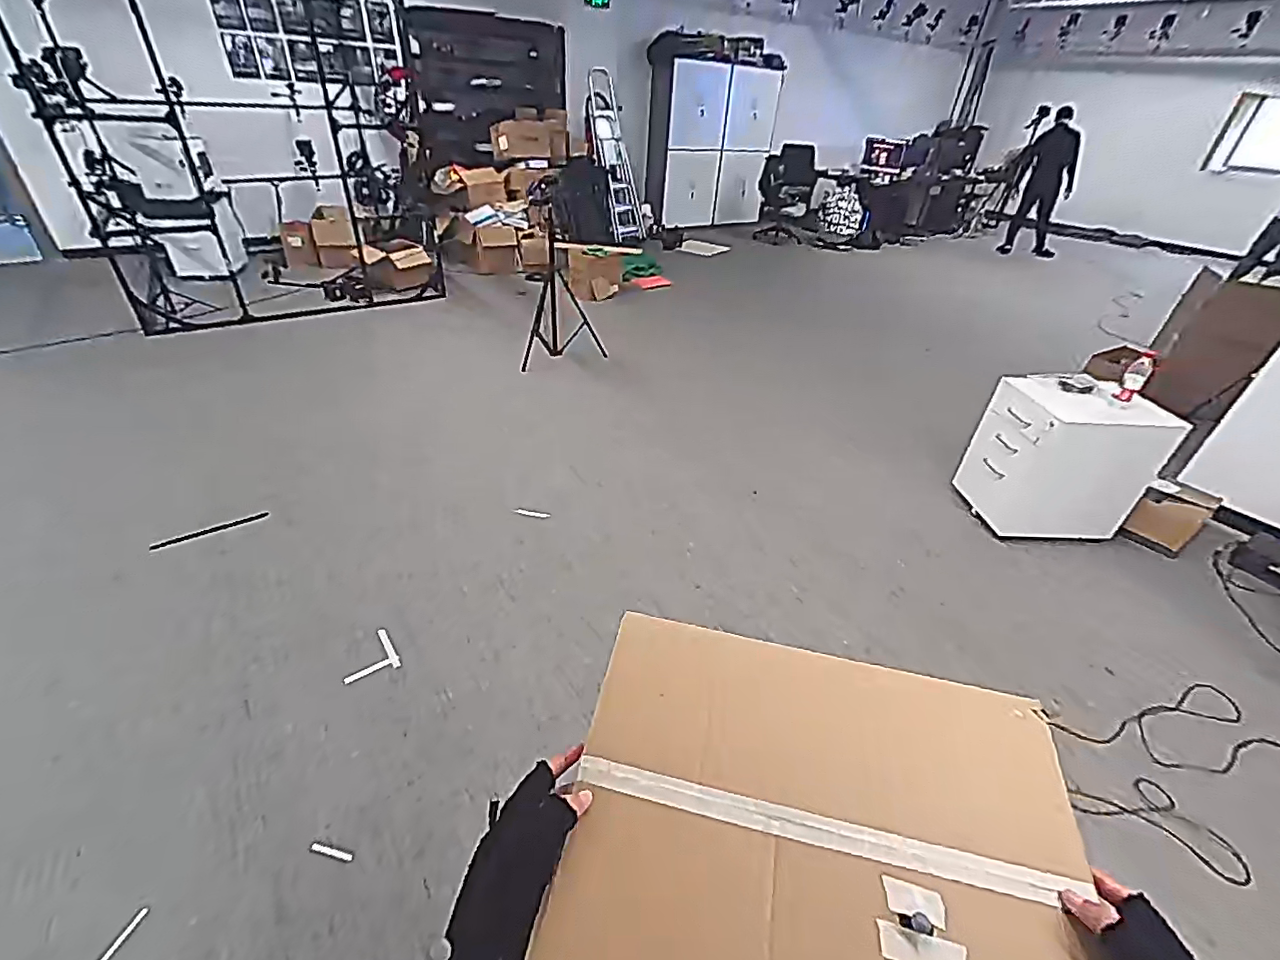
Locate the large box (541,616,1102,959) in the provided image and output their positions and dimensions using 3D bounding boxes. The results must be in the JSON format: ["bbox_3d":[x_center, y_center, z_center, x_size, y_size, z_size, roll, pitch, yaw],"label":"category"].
[{"bbox_3d":[0.146,0.387,0.554,0.408,0.320,0.320,11,47,9],"label":"large box"}]
